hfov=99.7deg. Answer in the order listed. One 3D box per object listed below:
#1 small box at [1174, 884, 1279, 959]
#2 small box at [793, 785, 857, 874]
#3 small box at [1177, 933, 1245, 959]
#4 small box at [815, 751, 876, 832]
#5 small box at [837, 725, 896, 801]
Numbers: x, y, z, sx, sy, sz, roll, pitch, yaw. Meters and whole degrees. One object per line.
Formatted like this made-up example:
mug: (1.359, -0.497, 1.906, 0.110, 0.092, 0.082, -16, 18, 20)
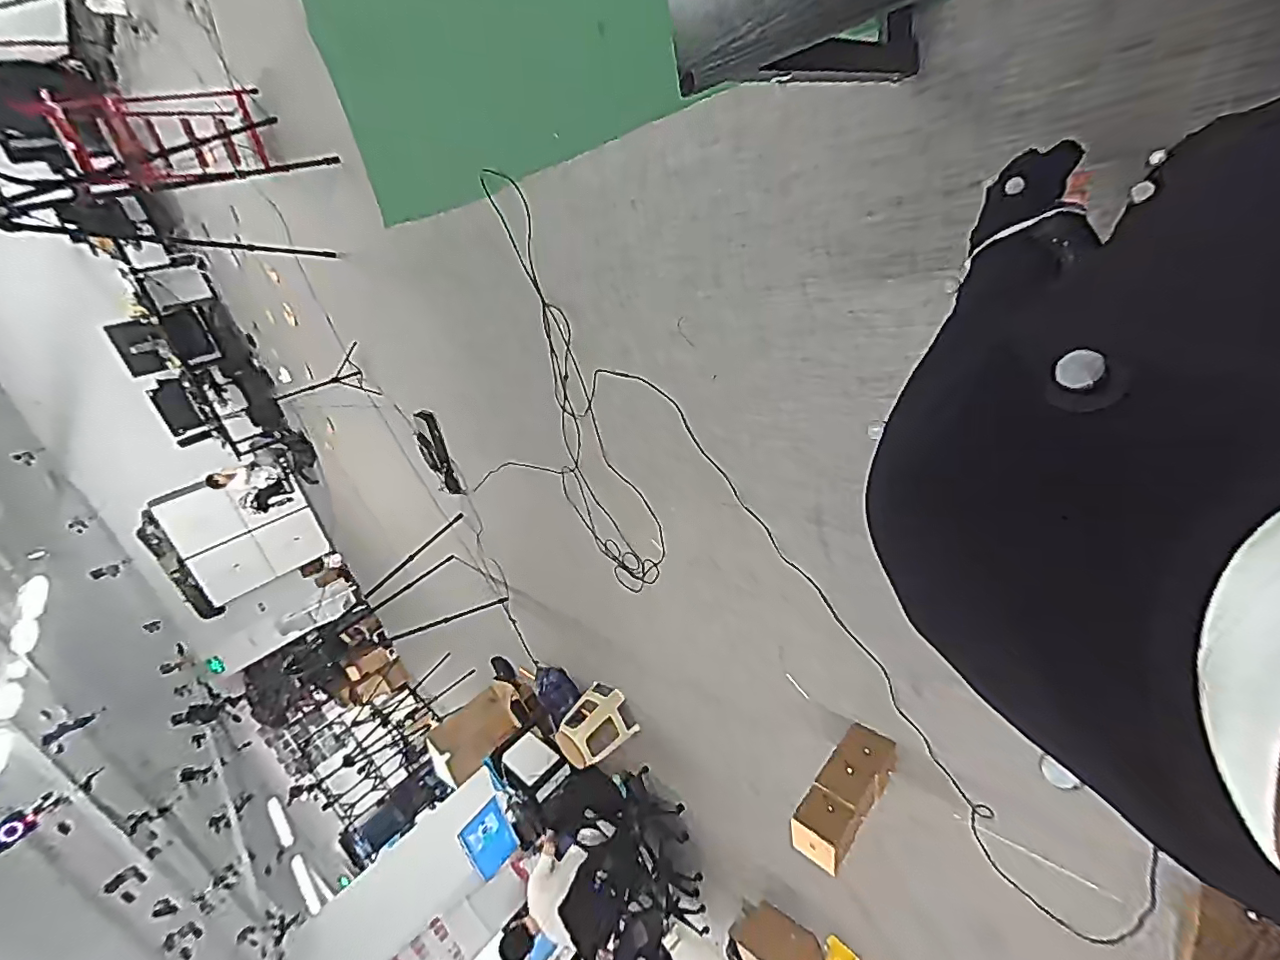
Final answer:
small box: (1.586, 1.253, 1.455, 0.168, 0.176, 0.179, 19, 129, 40)
small box: (0.674, 1.263, 1.965, 0.168, 0.176, 0.179, 16, 126, 43)
small box: (1.484, 1.312, 1.366, 0.168, 0.176, 0.179, 16, 128, 41)
small box: (0.783, 1.185, 2.057, 0.168, 0.176, 0.179, 16, 126, 42)
small box: (0.900, 1.115, 2.150, 0.179, 0.176, 0.168, 15, 126, 42)
